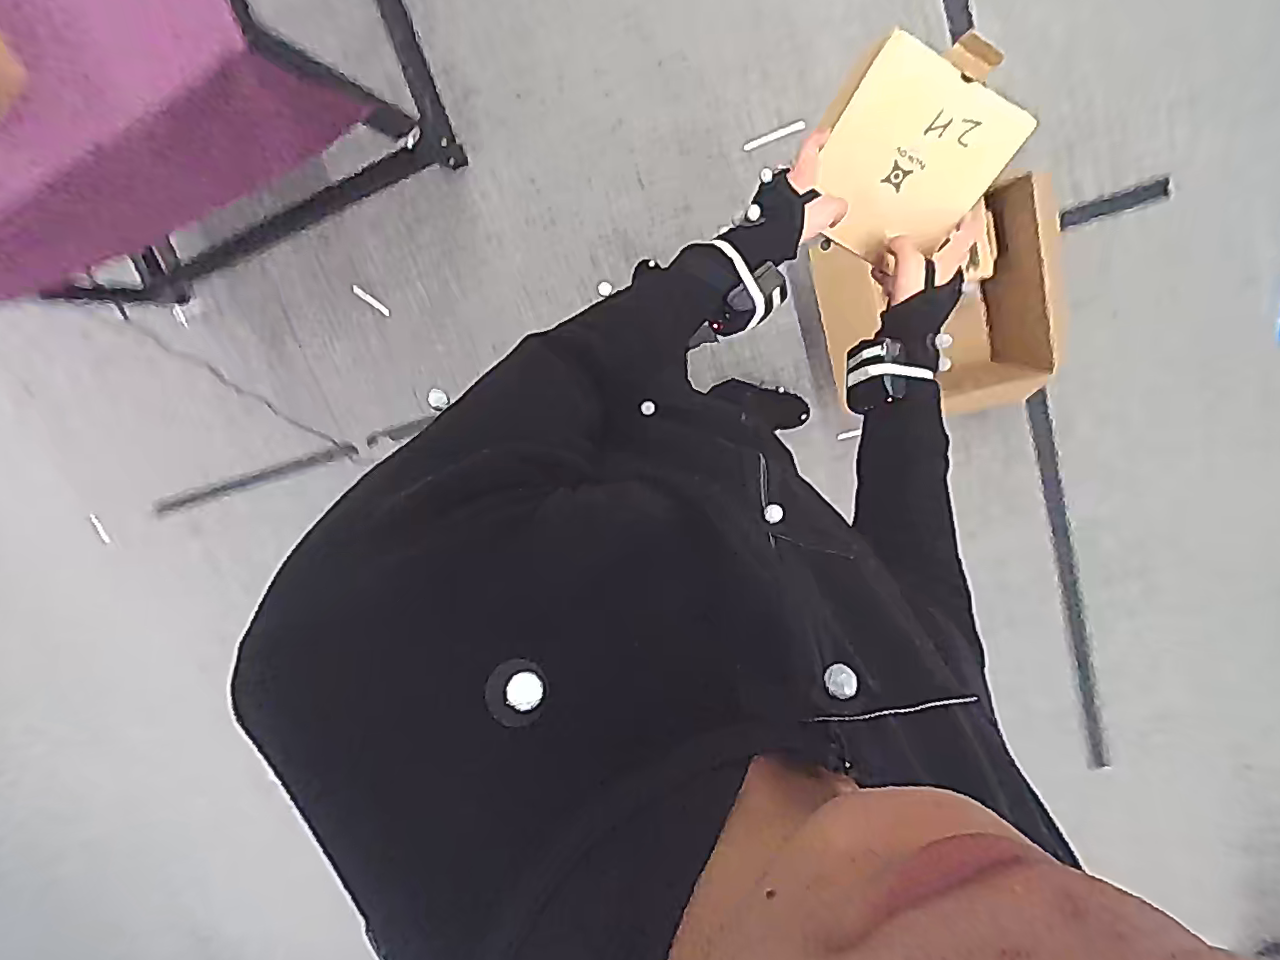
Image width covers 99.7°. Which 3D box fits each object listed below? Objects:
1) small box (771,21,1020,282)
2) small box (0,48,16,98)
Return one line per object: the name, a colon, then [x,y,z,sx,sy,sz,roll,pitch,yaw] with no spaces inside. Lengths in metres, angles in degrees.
small box: [0.263,-0.356,0.609,0.168,0.176,0.179,27,120,-7]
small box: [-1.173,-0.704,0.848,0.168,0.176,0.179,-26,100,18]
